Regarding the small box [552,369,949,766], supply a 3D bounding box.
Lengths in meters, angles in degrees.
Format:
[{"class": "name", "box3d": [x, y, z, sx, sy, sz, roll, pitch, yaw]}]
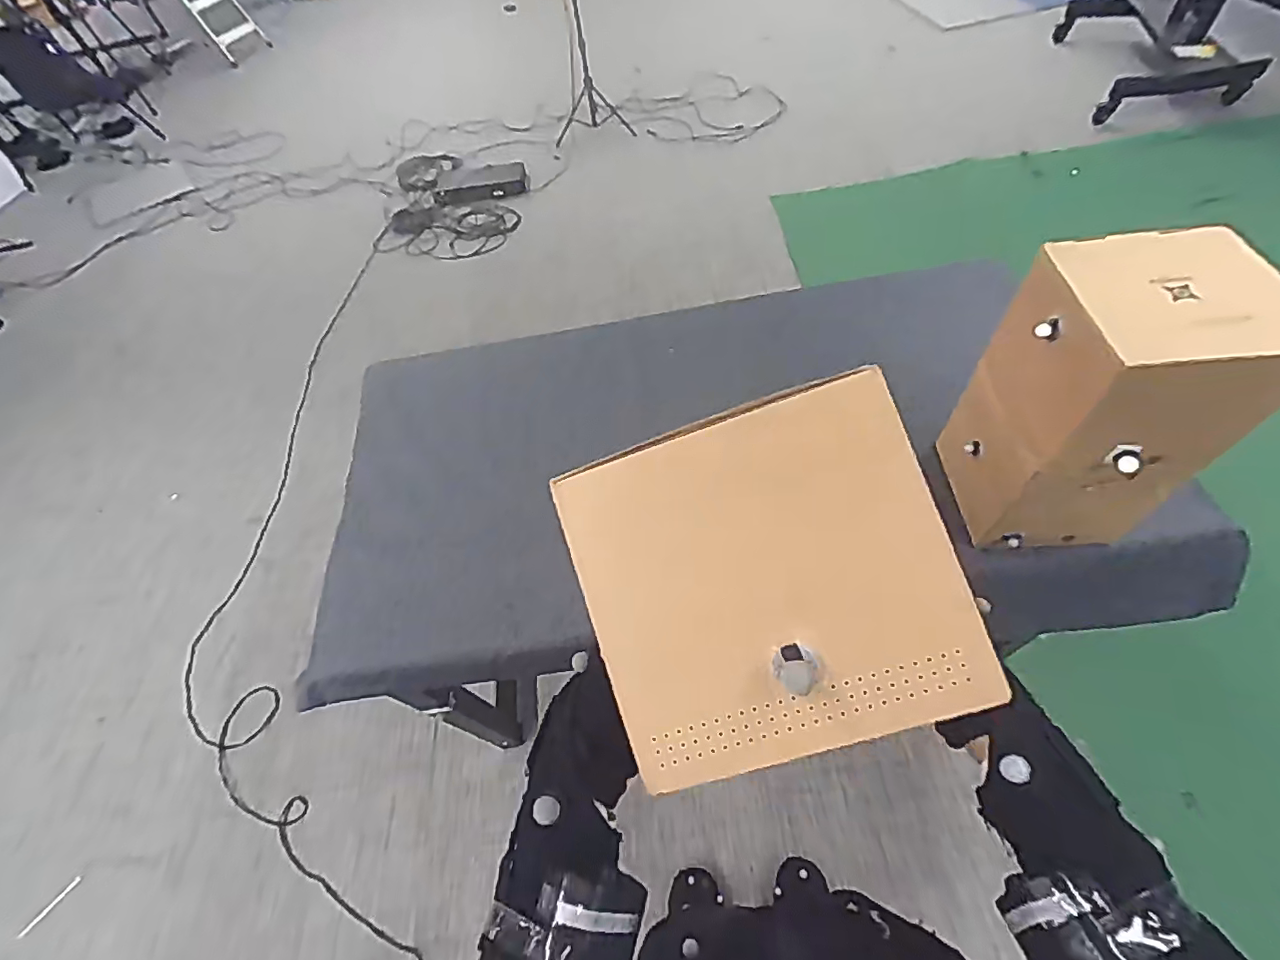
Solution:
[{"class": "small box", "box3d": [0.070, 0.052, 0.351, 0.179, 0.168, 0.176, -19, 83, 7]}]

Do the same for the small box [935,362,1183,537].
[{"class": "small box", "box3d": [0.506, -0.036, 0.689, 0.168, 0.176, 0.179, -3, 55, 6]}]

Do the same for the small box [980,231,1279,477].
[{"class": "small box", "box3d": [0.485, -0.122, 0.554, 0.168, 0.176, 0.179, -3, 57, 7]}]
